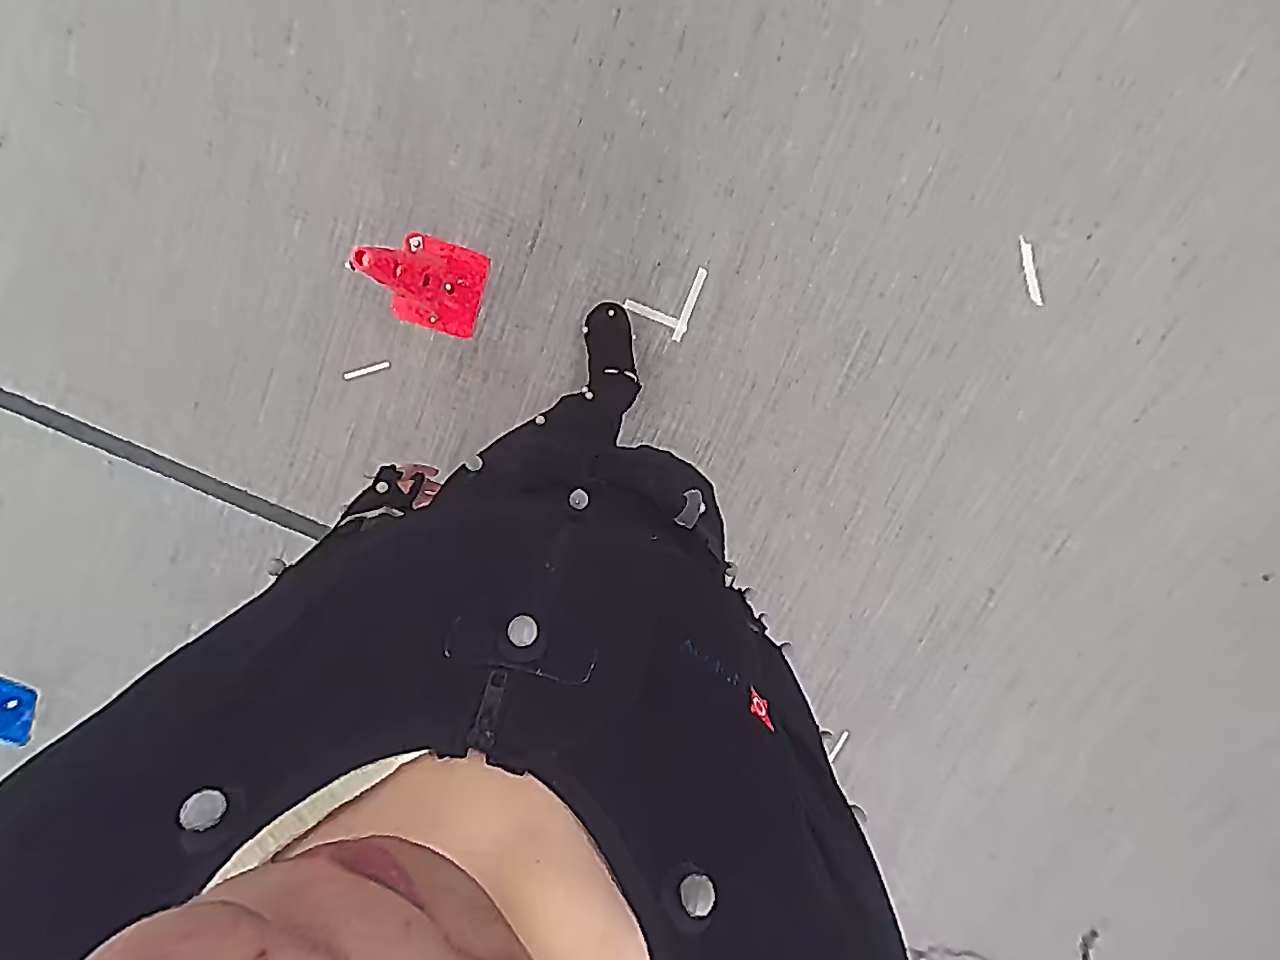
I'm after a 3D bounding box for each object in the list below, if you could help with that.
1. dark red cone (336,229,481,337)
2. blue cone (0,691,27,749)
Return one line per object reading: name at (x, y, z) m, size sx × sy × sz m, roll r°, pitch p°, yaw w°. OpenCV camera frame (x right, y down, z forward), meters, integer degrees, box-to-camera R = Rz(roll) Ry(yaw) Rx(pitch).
dark red cone at (-0.475, -0.407, 1.066) m, size 0.202 × 0.394 × 0.201 m, roll 17°, pitch 103°, yaw -3°
blue cone at (-1.818, 0.695, 1.351) m, size 0.193 × 0.380 × 0.192 m, roll 25°, pitch 102°, yaw -4°
